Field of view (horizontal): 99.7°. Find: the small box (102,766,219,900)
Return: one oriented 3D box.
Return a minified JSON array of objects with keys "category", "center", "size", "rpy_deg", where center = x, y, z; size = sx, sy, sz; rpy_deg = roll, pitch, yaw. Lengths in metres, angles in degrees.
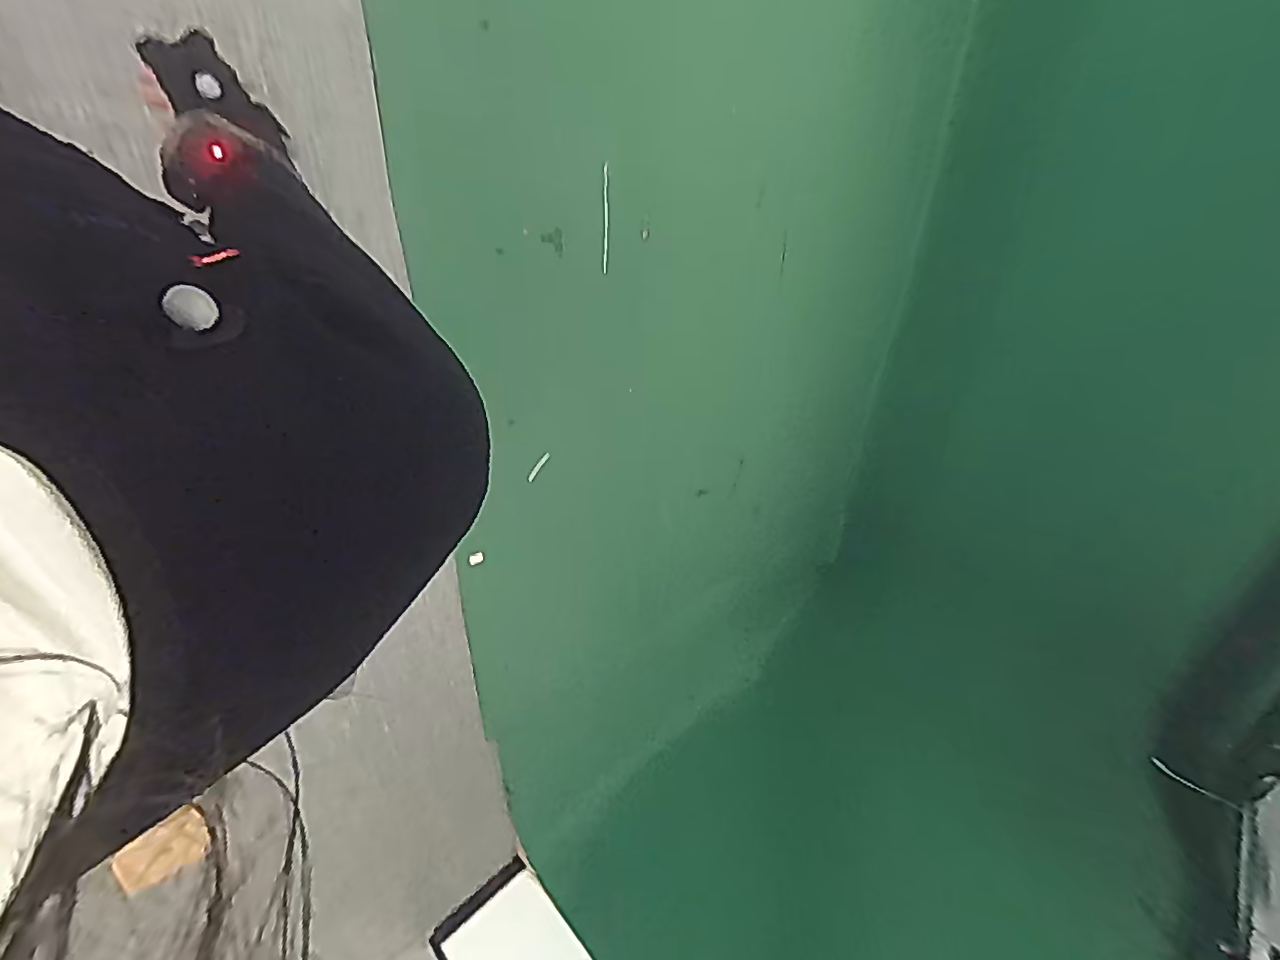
[{"category":"small box","center":[-1.181,0.859,1.330],"size":[0.179,0.176,0.168],"rpy_deg":[-22,127,-42]}]
